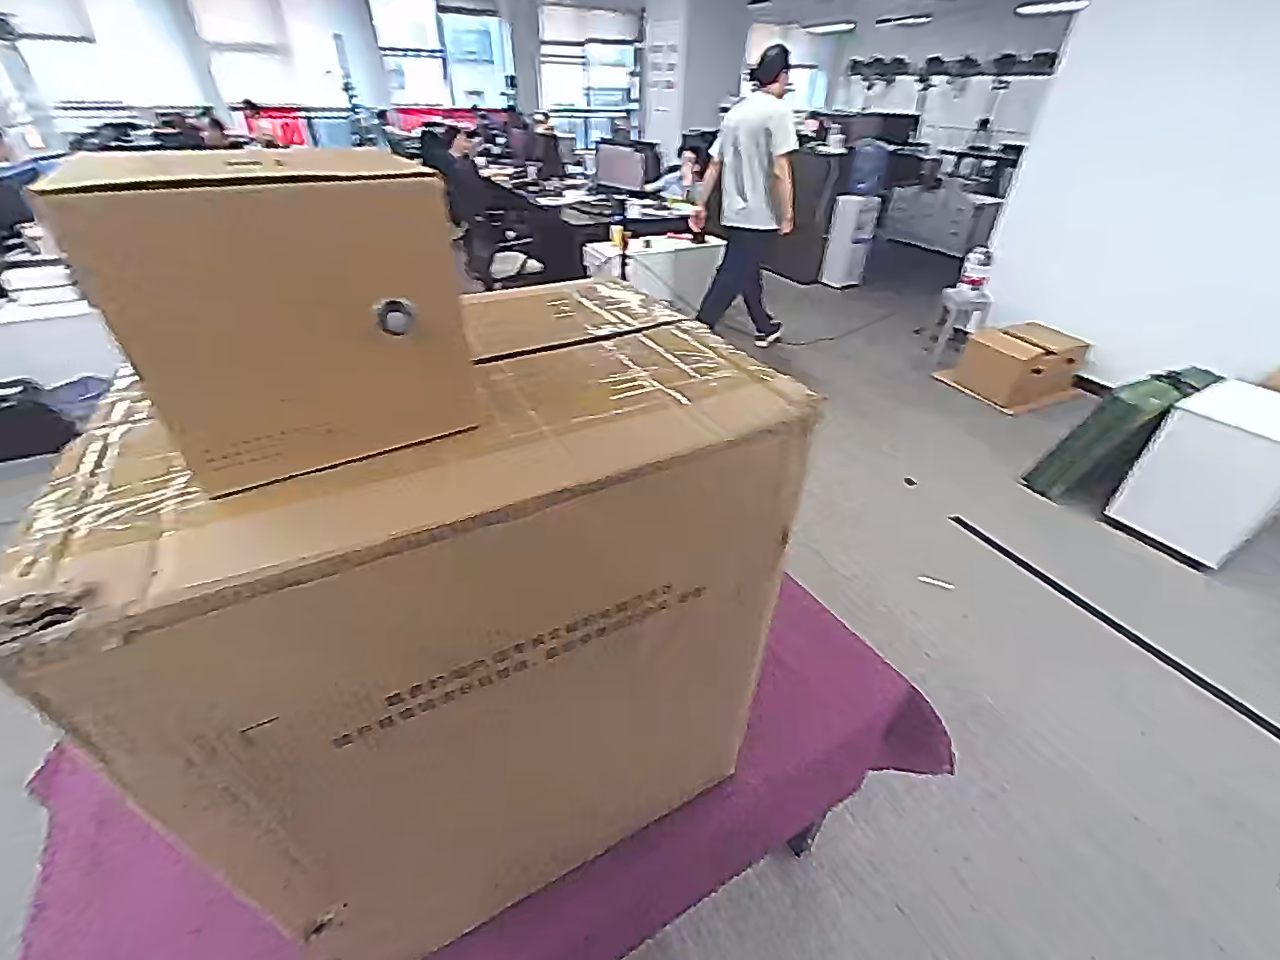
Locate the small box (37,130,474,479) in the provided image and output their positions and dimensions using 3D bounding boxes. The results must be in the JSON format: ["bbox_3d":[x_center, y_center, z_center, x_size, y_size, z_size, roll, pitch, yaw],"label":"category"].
[{"bbox_3d":[-0.224,-0.127,0.362,0.179,0.176,0.168,-22,41,-28],"label":"small box"}]
